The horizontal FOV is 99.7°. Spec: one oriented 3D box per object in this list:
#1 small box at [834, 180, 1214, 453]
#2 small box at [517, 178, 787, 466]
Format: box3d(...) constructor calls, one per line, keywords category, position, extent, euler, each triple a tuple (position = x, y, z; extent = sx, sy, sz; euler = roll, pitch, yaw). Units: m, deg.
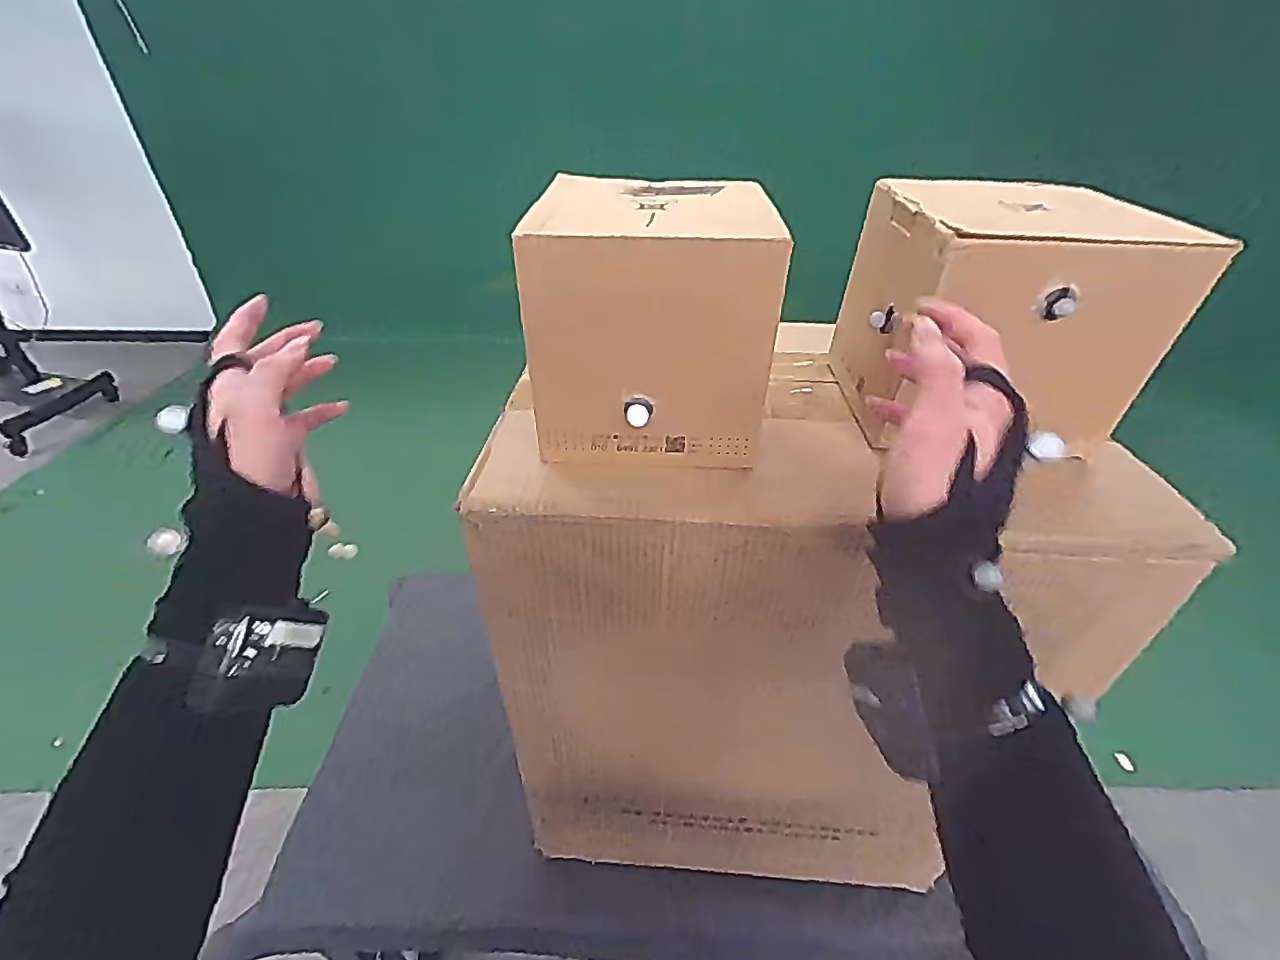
box3d(category="small box", position=(0.276, -0.137, 0.450), extent=(0.179, 0.176, 0.168), euler=(4, 39, 0))
box3d(category="small box", position=(0.010, -0.131, 0.435), extent=(0.168, 0.176, 0.179), euler=(2, 39, 3))
